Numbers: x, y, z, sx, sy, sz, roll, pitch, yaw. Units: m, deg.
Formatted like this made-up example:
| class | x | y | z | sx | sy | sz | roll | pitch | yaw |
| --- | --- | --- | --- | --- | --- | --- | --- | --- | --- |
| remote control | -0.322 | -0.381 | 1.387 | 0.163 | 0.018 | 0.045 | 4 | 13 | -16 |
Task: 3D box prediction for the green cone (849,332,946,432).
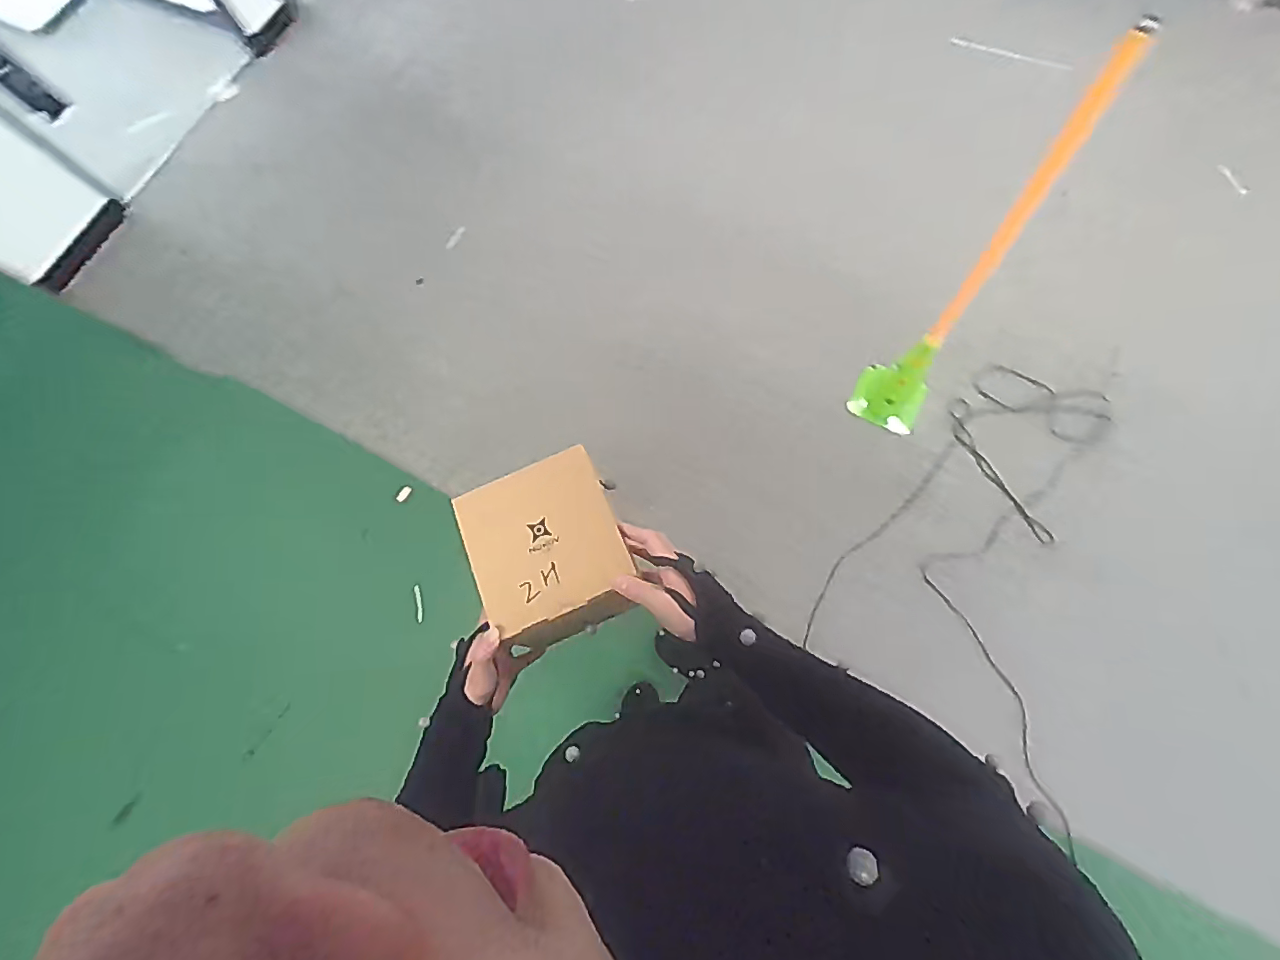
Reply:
| class | x | y | z | sx | sy | sz | roll | pitch | yaw |
| --- | --- | --- | --- | --- | --- | --- | --- | --- | --- |
| green cone | 0.779 | -0.316 | 1.565 | 0.202 | 0.368 | 0.200 | 27 | 78 | 11 |
